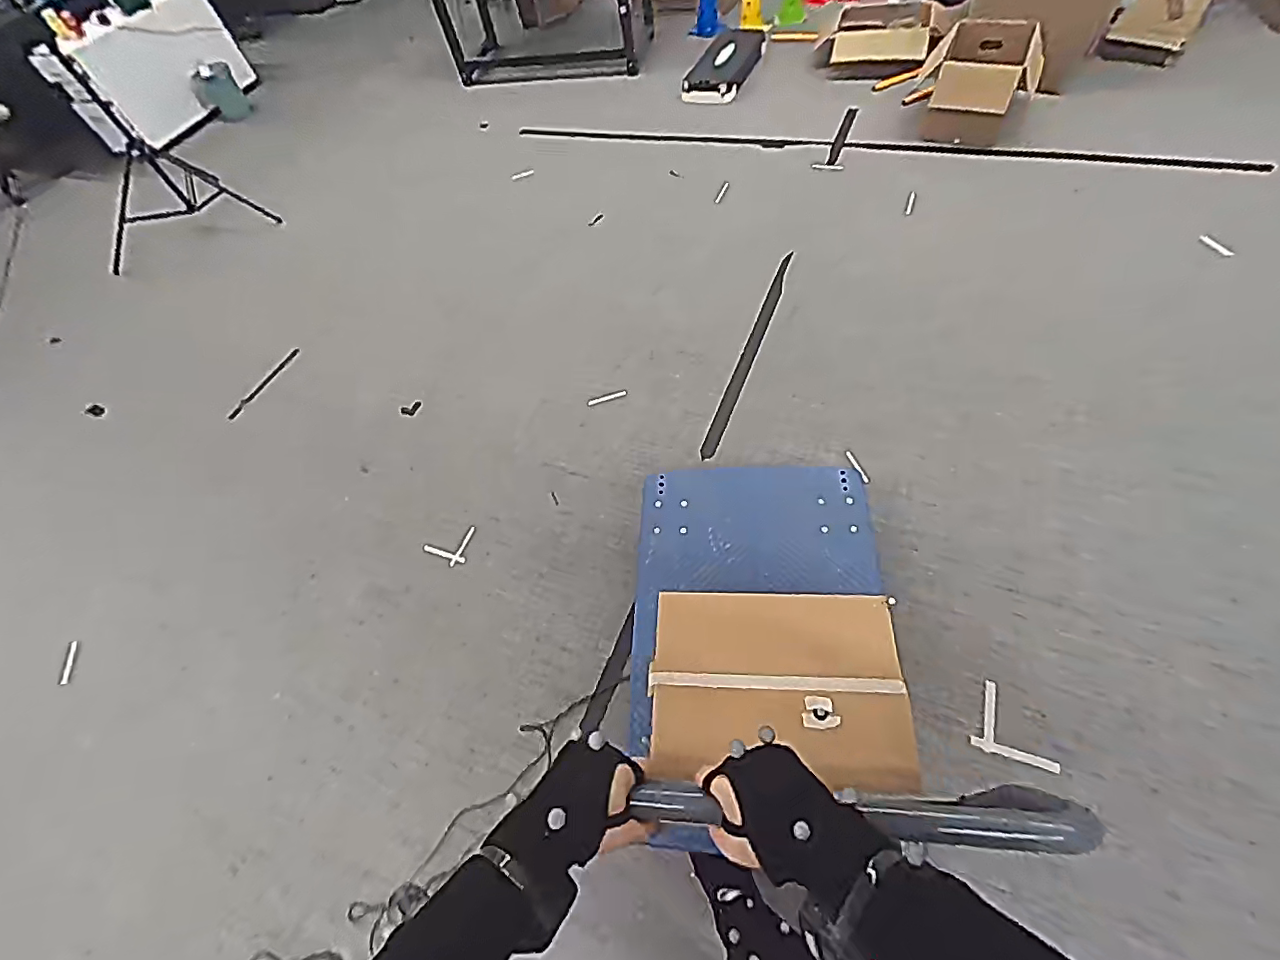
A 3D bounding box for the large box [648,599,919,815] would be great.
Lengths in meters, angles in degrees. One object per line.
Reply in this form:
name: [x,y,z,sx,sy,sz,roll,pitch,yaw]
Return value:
large box: [0.232,0.426,1.004,0.408,0.320,0.320,-1,57,8]
